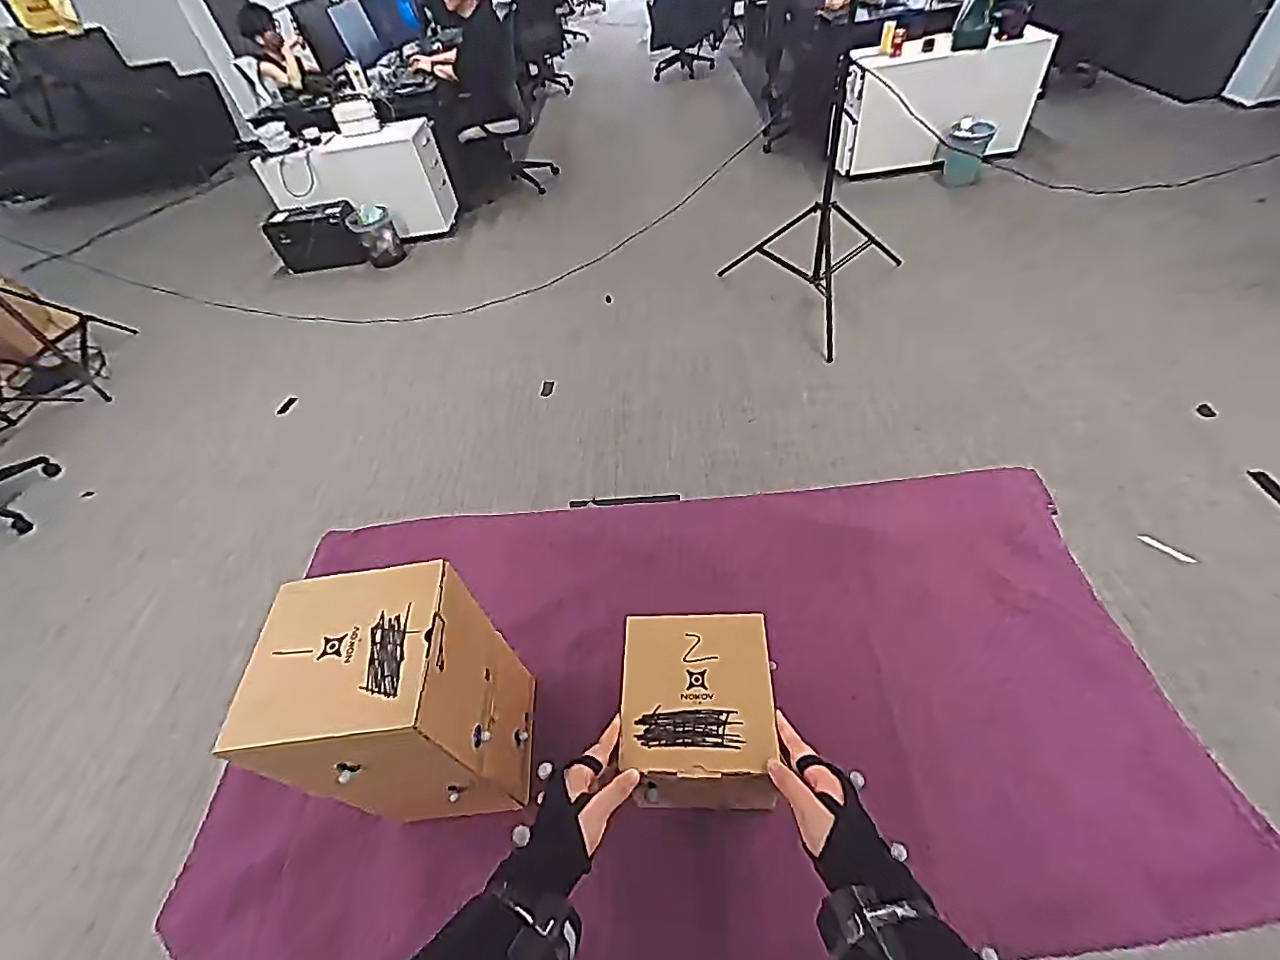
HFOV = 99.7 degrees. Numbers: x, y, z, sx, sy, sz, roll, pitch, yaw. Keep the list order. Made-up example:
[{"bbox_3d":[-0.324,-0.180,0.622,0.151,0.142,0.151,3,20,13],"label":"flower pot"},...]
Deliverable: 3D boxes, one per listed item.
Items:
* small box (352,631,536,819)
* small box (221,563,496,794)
[{"bbox_3d":[-0.243,0.313,0.684,0.179,0.176,0.168,-8,48,2],"label":"small box"},{"bbox_3d":[-0.261,0.208,0.559,0.179,0.176,0.168,-8,48,2],"label":"small box"}]
